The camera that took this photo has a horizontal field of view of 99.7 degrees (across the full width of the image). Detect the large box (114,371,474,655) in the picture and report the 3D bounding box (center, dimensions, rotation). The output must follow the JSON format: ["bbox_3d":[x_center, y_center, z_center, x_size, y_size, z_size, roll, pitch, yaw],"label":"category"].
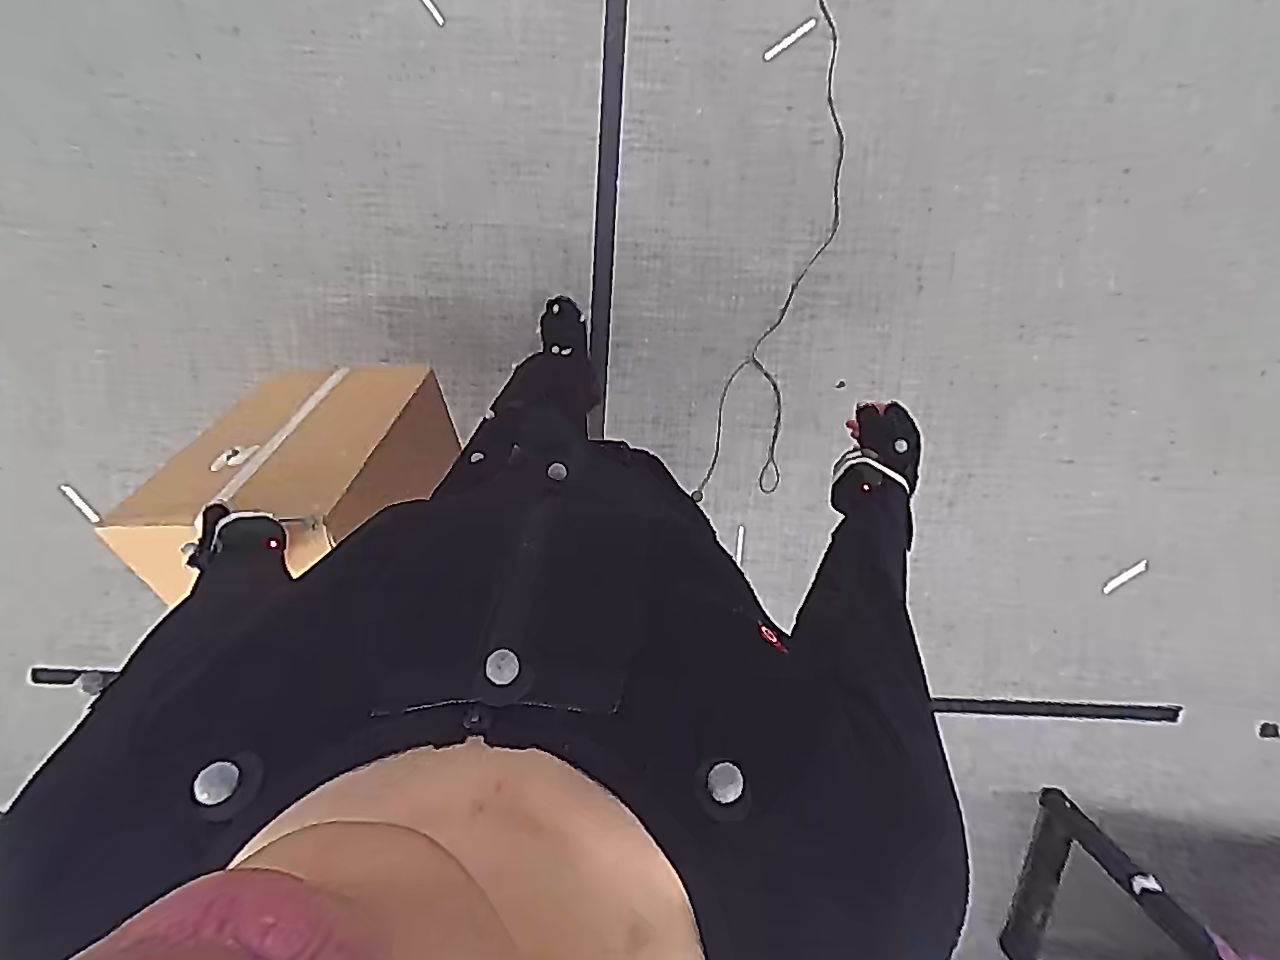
[{"bbox_3d":[-0.524,0.046,0.941,0.320,0.408,0.320,-2,130,6],"label":"large box"}]
